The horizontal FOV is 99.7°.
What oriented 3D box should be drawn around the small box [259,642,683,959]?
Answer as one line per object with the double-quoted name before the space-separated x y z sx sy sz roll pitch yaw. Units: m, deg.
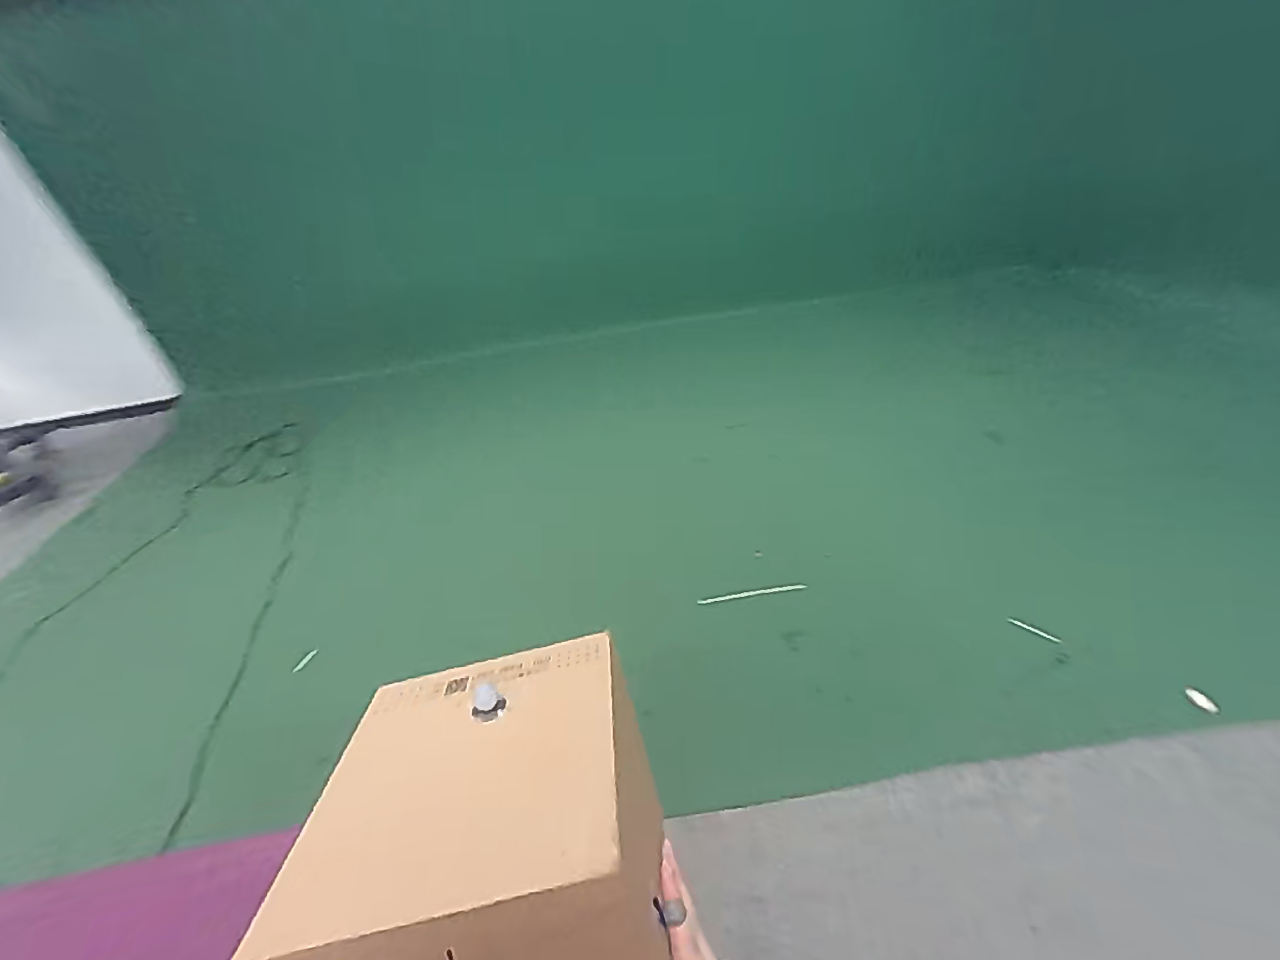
"small box" -0.068 0.231 0.328 0.168 0.179 0.176 -13 18 0
